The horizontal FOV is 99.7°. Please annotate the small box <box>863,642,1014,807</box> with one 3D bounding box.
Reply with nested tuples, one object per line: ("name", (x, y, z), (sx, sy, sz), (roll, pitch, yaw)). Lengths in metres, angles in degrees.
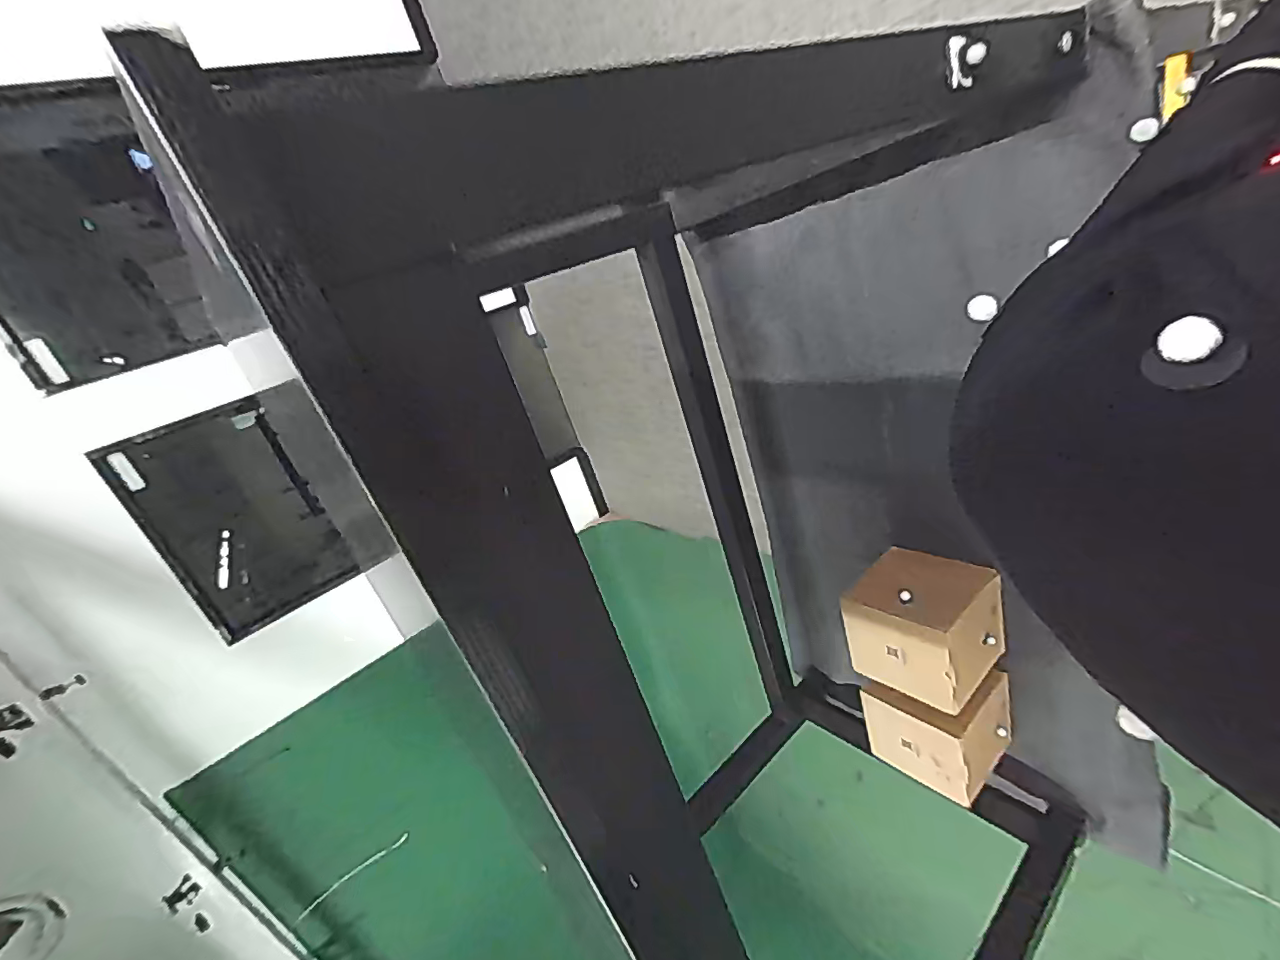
("small box", (0.530, 0.417, 0.959), (0.179, 0.176, 0.168), (13, 127, 53))
